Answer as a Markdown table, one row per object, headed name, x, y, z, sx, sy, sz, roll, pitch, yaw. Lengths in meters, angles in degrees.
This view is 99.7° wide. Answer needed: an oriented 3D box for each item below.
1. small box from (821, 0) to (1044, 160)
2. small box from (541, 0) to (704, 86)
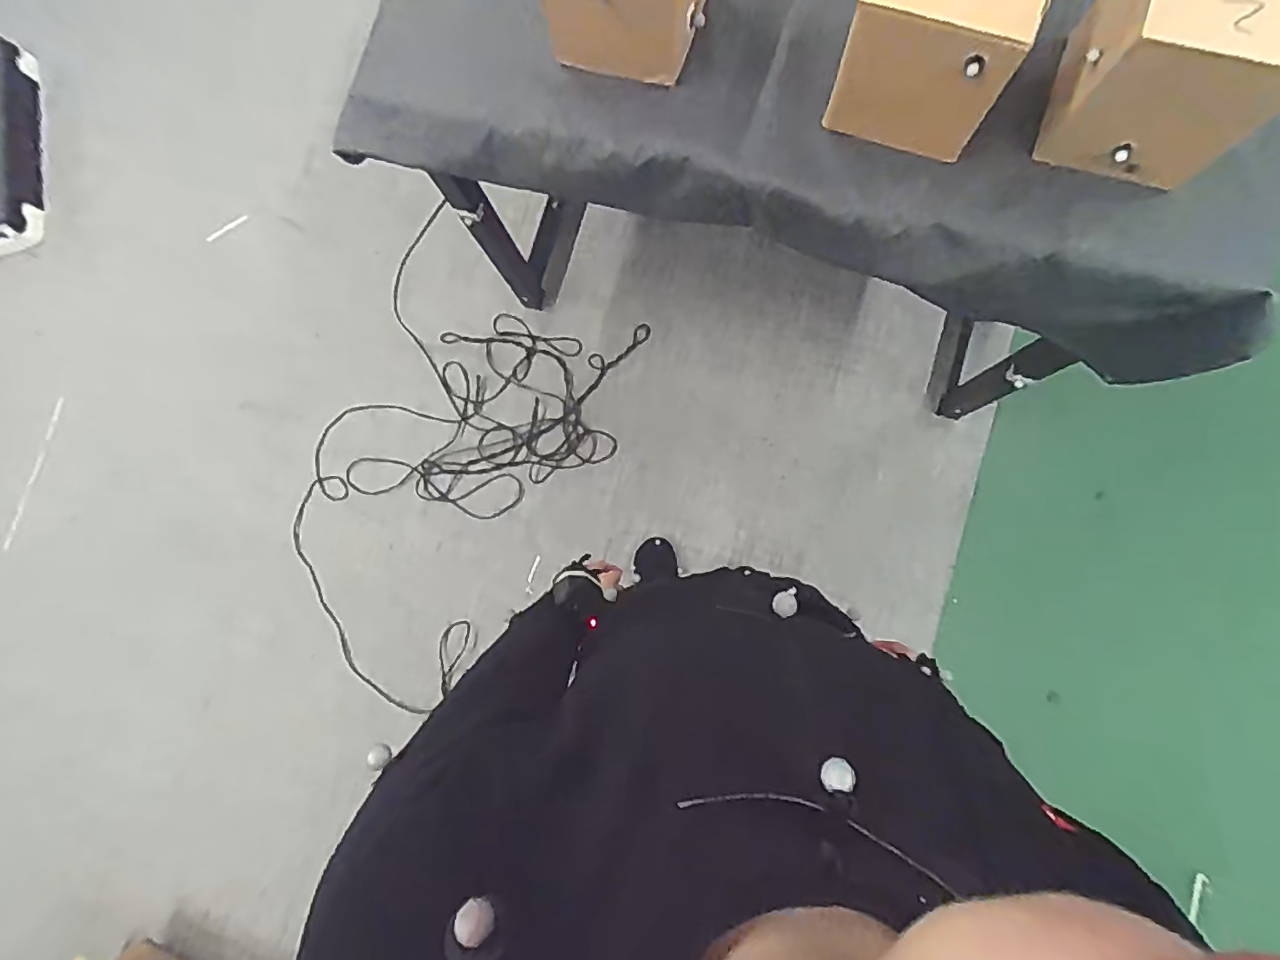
| name | x | y | z | sx | sy | sz | roll | pitch | yaw |
| --- | --- | --- | --- | --- | --- | --- | --- | --- | --- |
| small box | 0.328 | -0.507 | 0.617 | 0.179 | 0.176 | 0.168 | 21 | 84 | 7 |
| small box | -0.021 | -0.631 | 0.663 | 0.179 | 0.176 | 0.168 | 17 | 86 | 6 |
